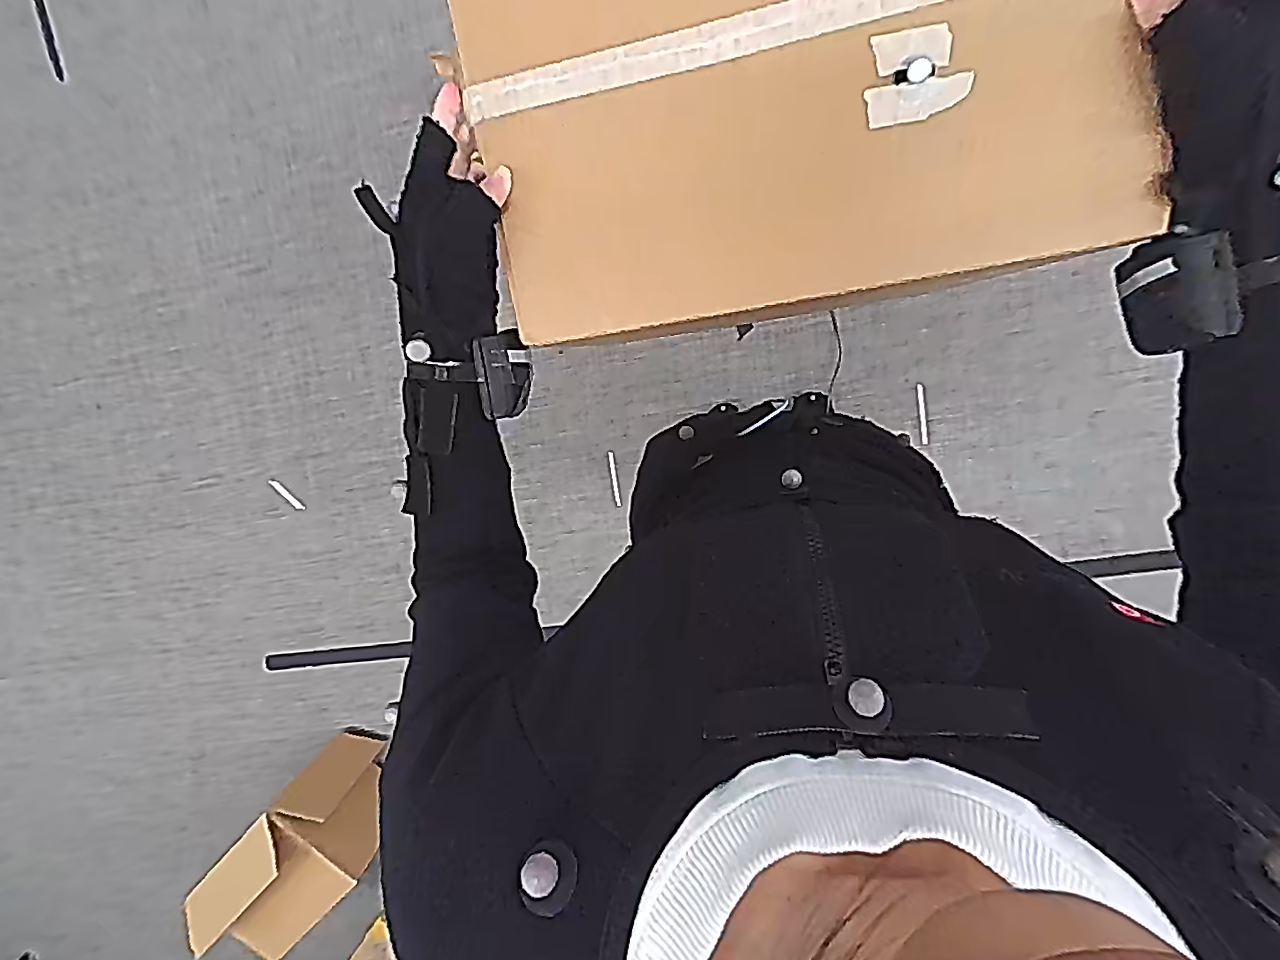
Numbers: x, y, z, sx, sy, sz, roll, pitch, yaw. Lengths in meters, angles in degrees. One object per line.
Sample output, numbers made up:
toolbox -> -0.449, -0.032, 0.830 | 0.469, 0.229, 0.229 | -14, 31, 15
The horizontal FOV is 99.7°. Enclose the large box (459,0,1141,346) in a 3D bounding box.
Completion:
large box -> 0.103, -0.310, 0.478 | 0.408, 0.320, 0.320 | -8, 103, 8
